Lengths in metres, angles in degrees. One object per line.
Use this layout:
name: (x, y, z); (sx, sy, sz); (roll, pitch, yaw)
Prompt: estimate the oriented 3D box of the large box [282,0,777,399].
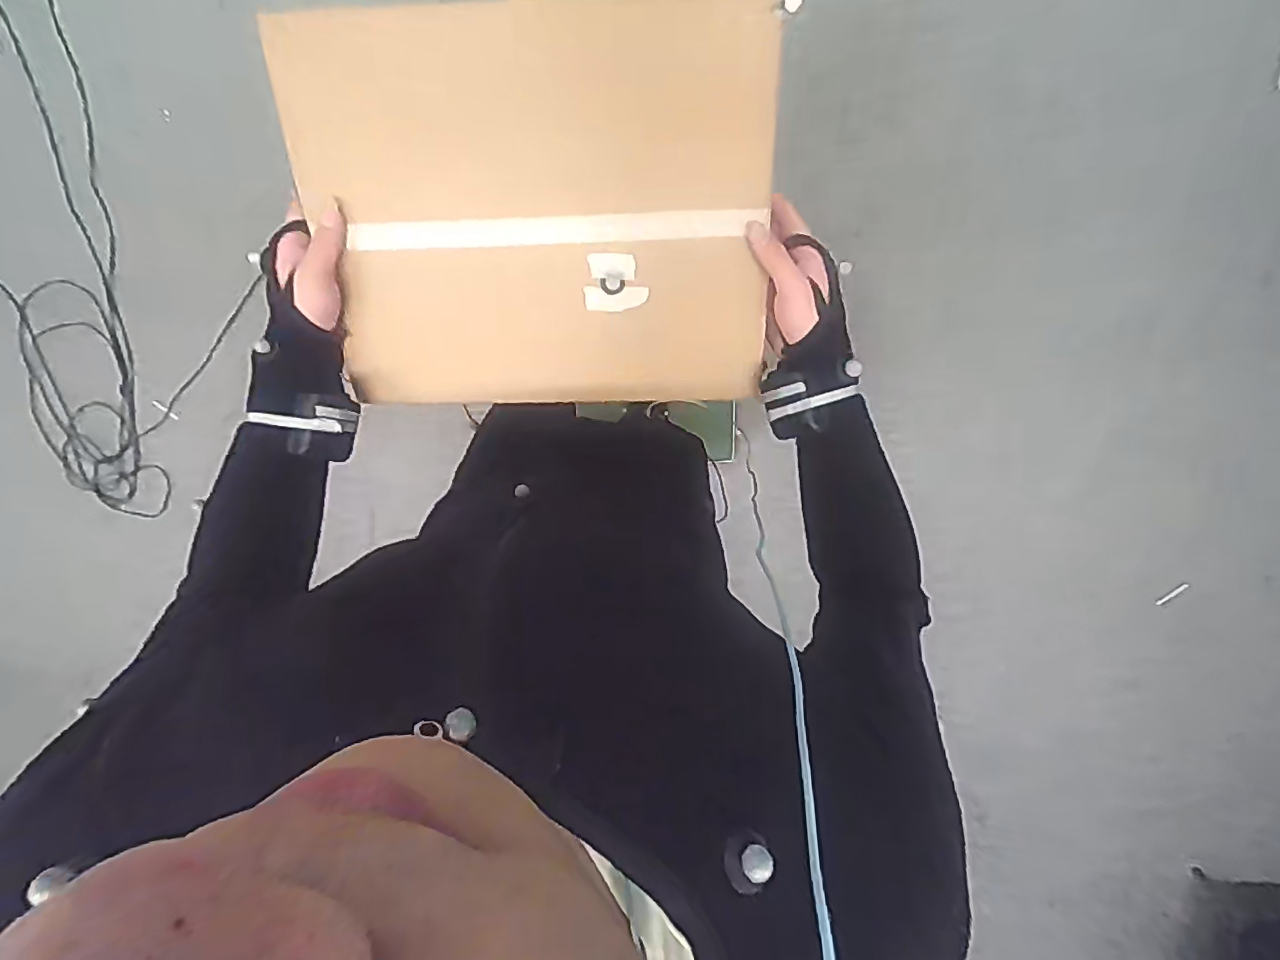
large box: (-0.082, -0.289, 0.619); (0.408, 0.320, 0.320); (-1, 116, 3)
